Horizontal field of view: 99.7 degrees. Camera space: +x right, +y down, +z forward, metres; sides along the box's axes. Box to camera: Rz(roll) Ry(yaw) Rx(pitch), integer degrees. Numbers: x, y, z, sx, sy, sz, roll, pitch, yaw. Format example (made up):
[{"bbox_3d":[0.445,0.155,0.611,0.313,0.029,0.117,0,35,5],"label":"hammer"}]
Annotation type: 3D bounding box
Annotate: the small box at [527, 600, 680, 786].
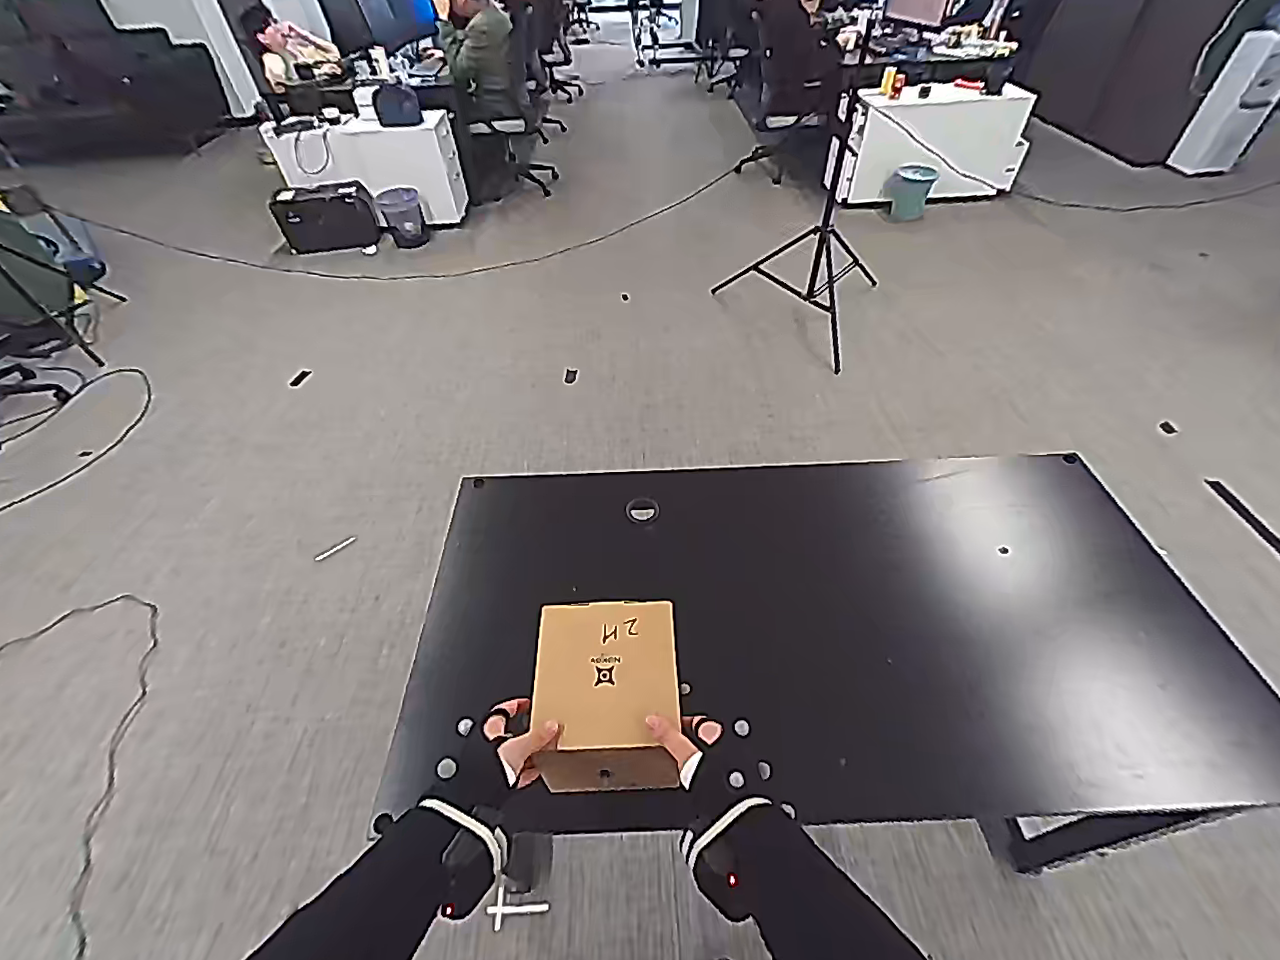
[{"bbox_3d":[-0.037,0.275,0.686,0.168,0.176,0.179,-3,46,0],"label":"small box"}]
